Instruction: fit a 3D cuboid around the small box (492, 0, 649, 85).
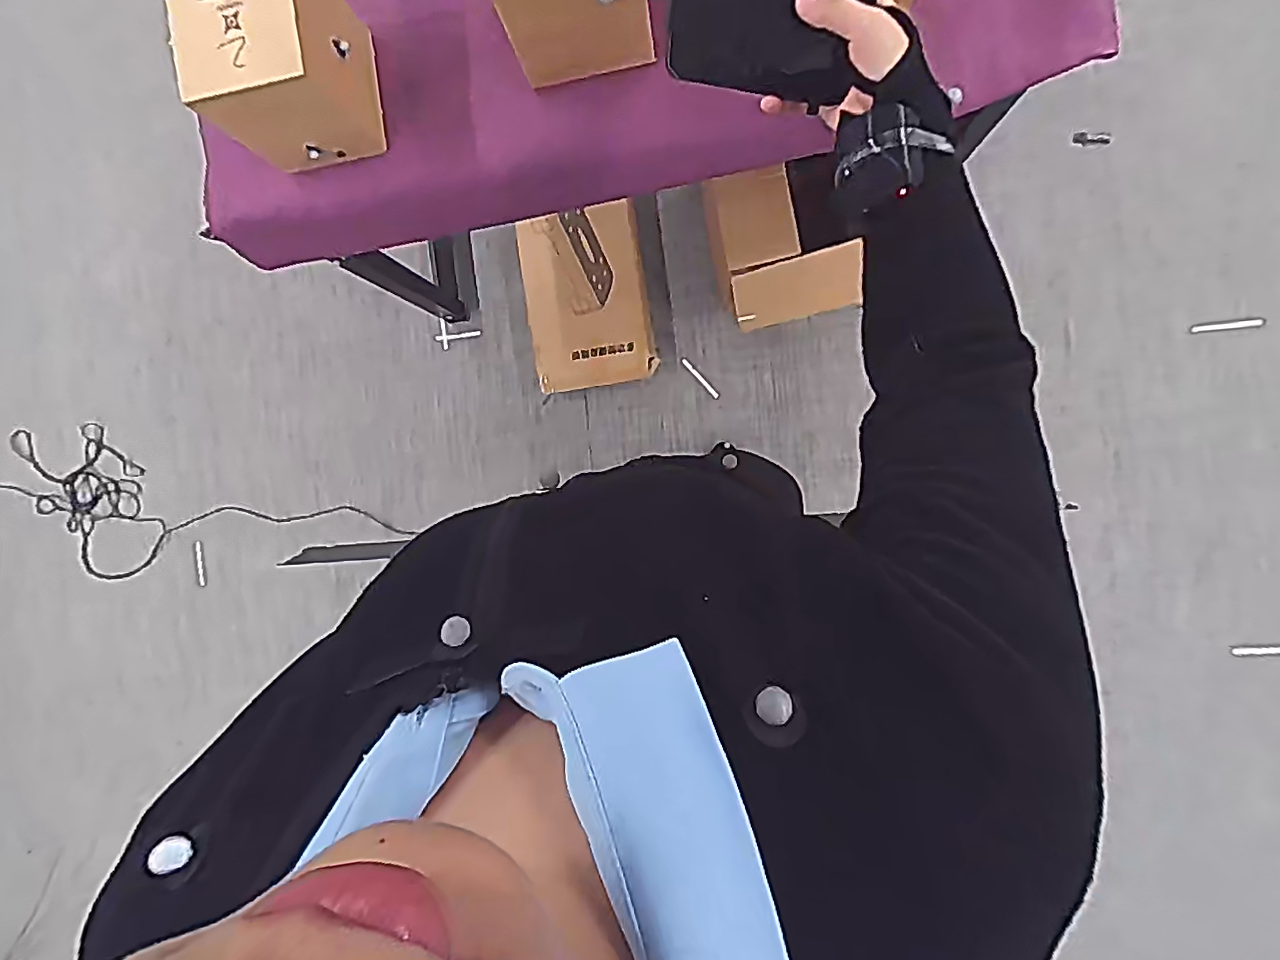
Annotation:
[{"bbox_3d":[-0.085,-0.630,0.657,0.179,0.176,0.168,-8,89,7],"label":"small box"}]
